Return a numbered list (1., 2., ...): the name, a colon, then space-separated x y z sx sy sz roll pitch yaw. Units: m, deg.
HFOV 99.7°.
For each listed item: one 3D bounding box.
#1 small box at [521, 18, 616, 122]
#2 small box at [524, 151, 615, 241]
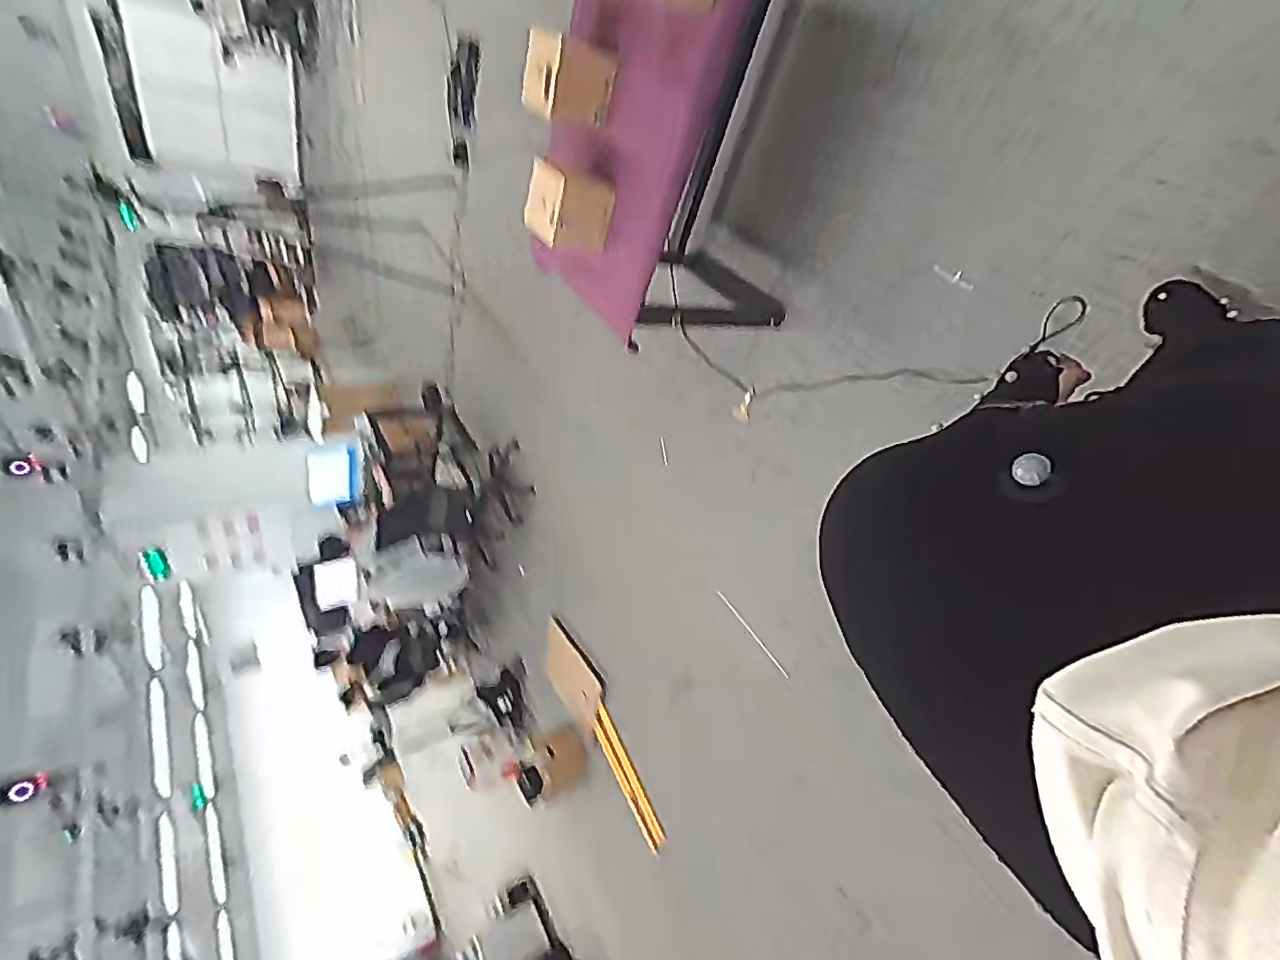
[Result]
1. small box: -0.186 -1.060 1.408 0.179 0.176 0.168 50 135 33
2. small box: -0.197 -0.777 1.494 0.179 0.176 0.168 51 136 32
